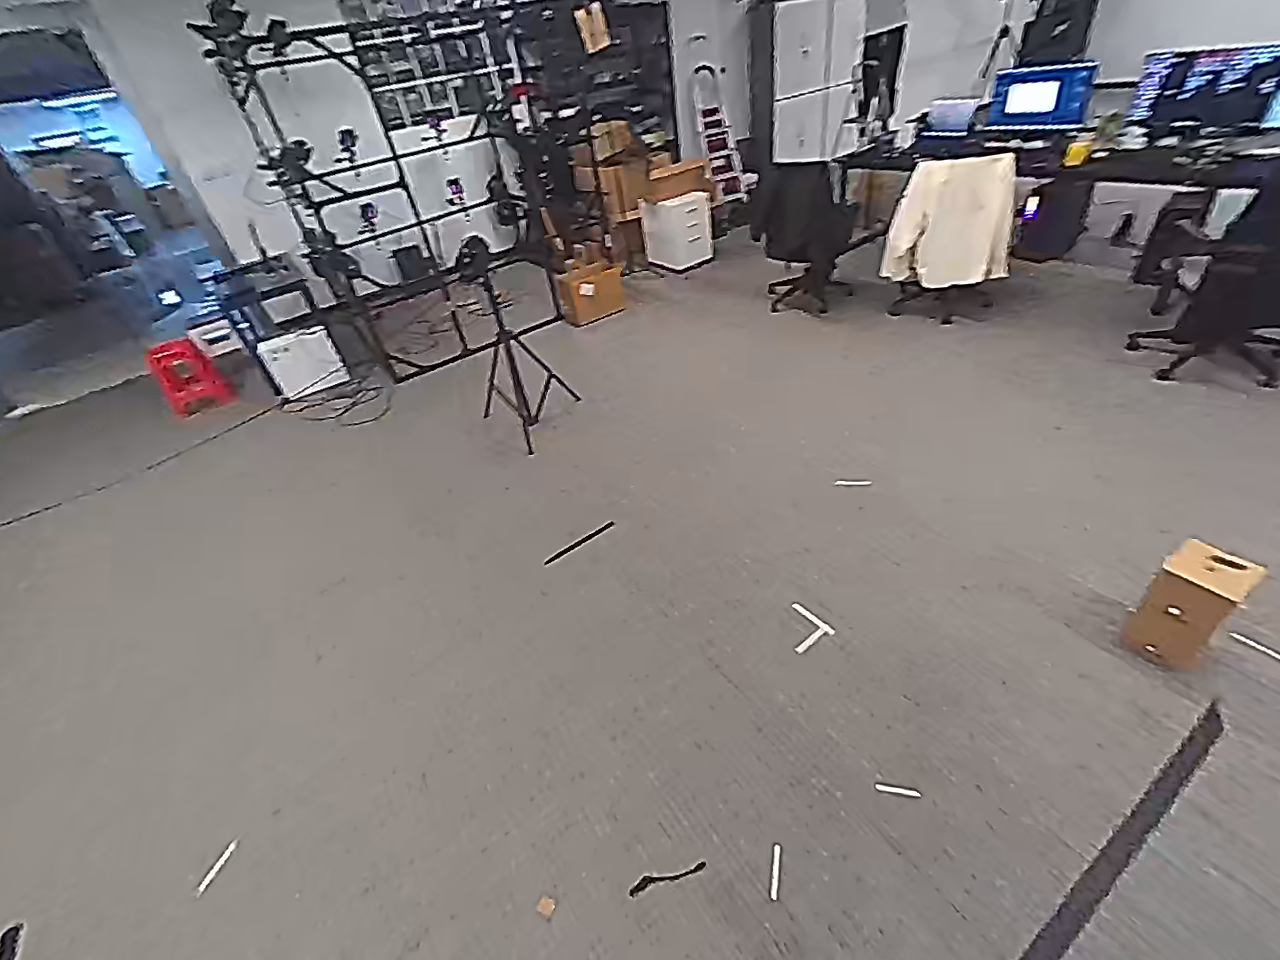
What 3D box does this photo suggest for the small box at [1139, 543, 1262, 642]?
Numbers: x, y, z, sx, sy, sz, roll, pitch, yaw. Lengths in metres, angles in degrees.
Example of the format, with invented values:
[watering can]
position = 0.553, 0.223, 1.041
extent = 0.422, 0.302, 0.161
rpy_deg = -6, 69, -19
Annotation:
[small box]
position = 1.571, 0.316, 1.526
extent = 0.179, 0.176, 0.168
rpy_deg = -28, 40, -20
